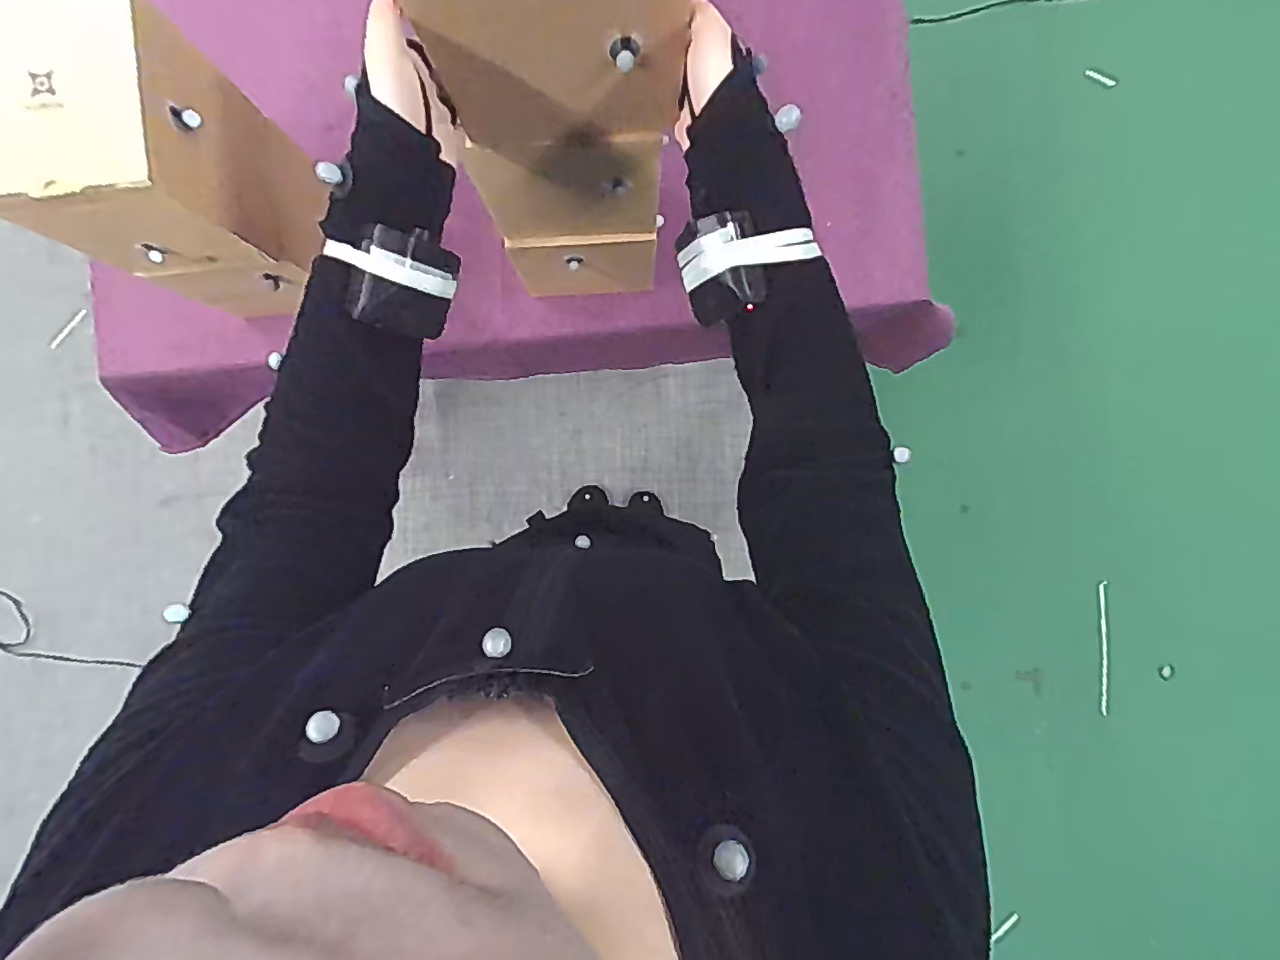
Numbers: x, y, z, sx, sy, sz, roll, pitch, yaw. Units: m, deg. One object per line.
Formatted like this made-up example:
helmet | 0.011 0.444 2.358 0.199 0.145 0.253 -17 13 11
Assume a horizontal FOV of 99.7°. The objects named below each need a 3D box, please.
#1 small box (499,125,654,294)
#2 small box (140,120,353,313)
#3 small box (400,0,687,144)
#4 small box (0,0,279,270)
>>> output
small box | -0.073 -0.351 0.701 0.179 0.176 0.168 -3 91 0
small box | -0.496 -0.328 0.702 0.179 0.176 0.168 -5 90 0
small box | -0.062 -0.366 0.373 0.179 0.176 0.168 -5 90 0
small box | -0.499 -0.332 0.538 0.168 0.176 0.179 -5 91 0
